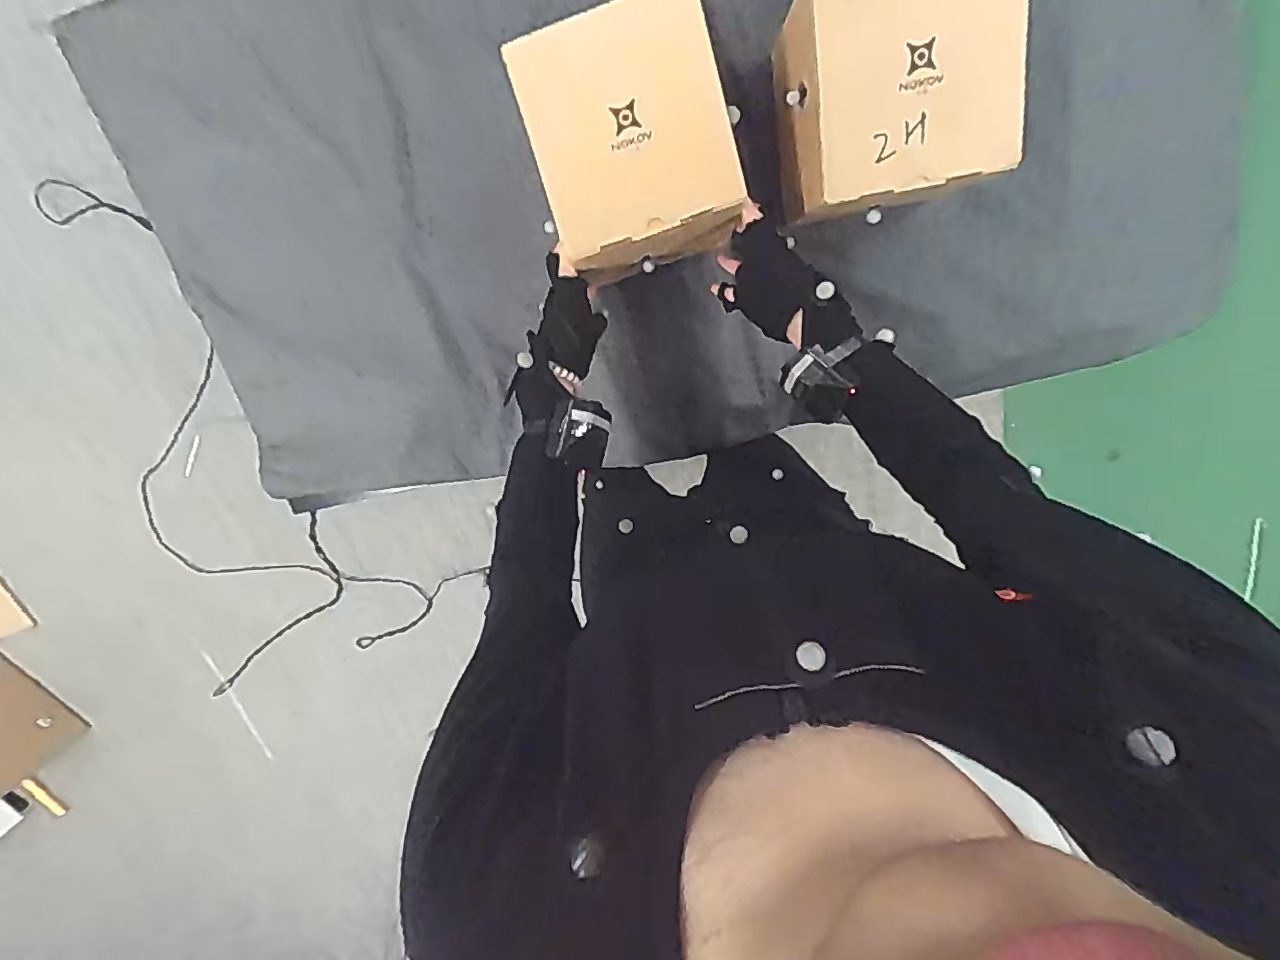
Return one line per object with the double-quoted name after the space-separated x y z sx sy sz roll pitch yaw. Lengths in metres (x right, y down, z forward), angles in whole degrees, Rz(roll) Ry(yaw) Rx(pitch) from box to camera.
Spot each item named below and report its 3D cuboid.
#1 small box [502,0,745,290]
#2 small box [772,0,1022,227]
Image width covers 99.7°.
-0.010 -0.306 0.529 0.168 0.176 0.179 -18 101 7 "small box"
0.228 -0.359 0.519 0.168 0.176 0.179 -9 109 7 "small box"
